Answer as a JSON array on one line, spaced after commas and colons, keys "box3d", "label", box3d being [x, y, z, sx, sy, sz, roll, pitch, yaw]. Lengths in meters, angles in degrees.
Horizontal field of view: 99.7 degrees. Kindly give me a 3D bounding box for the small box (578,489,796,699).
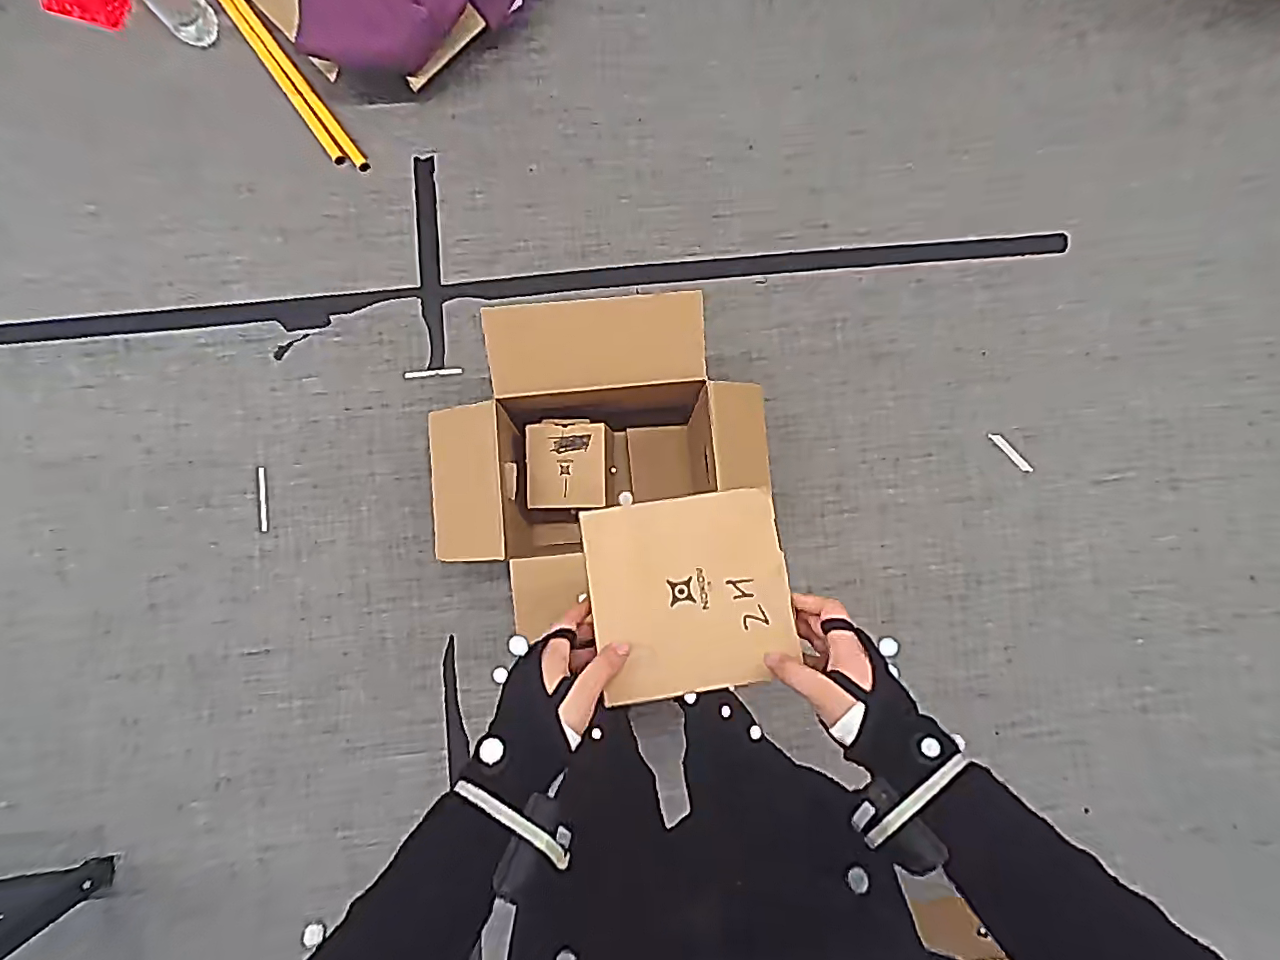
[{"box3d": [0.037, 0.112, 0.554, 0.179, 0.176, 0.168, -7, 81, -5], "label": "small box"}]
